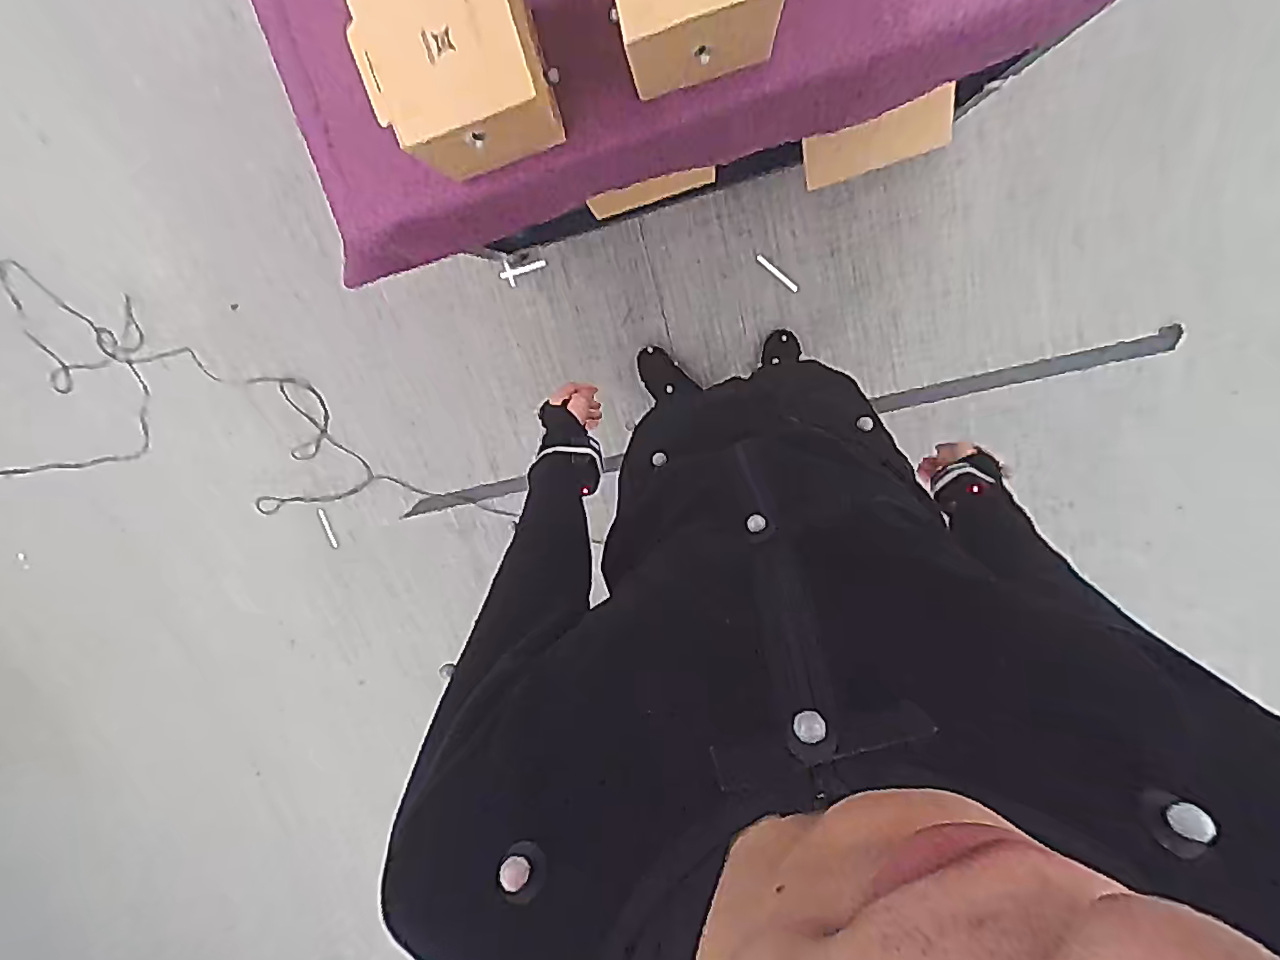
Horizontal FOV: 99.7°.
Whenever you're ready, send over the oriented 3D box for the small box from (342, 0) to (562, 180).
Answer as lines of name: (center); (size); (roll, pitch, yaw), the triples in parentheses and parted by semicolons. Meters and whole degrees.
small box: (-0.216, -0.500, 0.672); (0.179, 0.176, 0.168); (-14, 105, 9)
